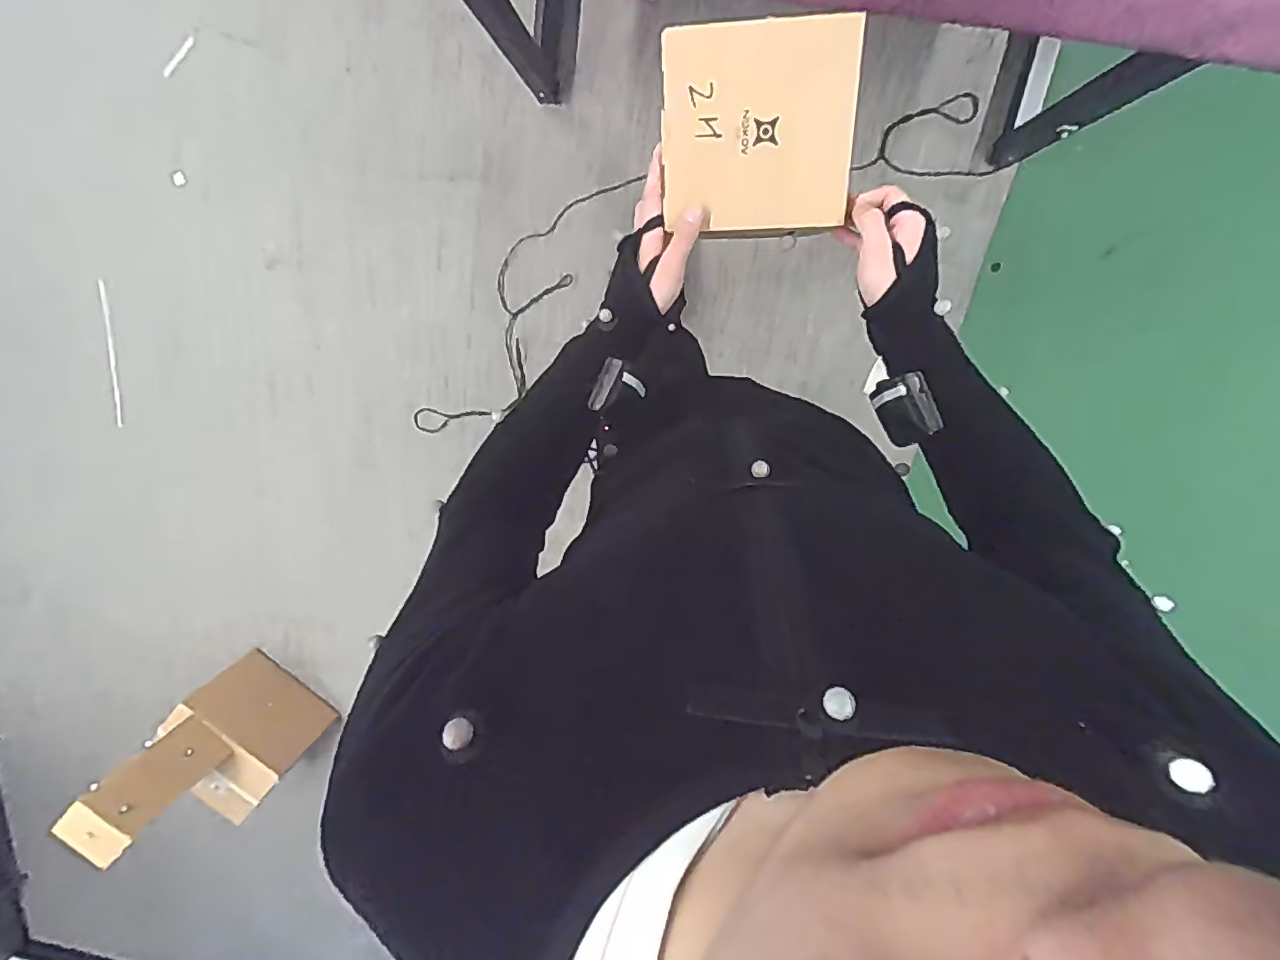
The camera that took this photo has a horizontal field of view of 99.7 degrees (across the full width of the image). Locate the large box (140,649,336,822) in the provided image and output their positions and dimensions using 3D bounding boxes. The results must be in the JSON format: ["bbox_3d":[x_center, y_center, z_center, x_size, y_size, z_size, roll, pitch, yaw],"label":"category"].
[{"bbox_3d":[-1.404,0.891,1.917,0.408,0.320,0.320,42,108,-7],"label":"large box"}]

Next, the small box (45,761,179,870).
[{"bbox_3d":[-1.458,0.920,1.504,0.168,0.176,0.179,-42,99,15],"label":"small box"}]

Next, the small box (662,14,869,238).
[{"bbox_3d":[0.116,-0.347,0.563,0.179,0.176,0.168,2,112,7],"label":"small box"}]
